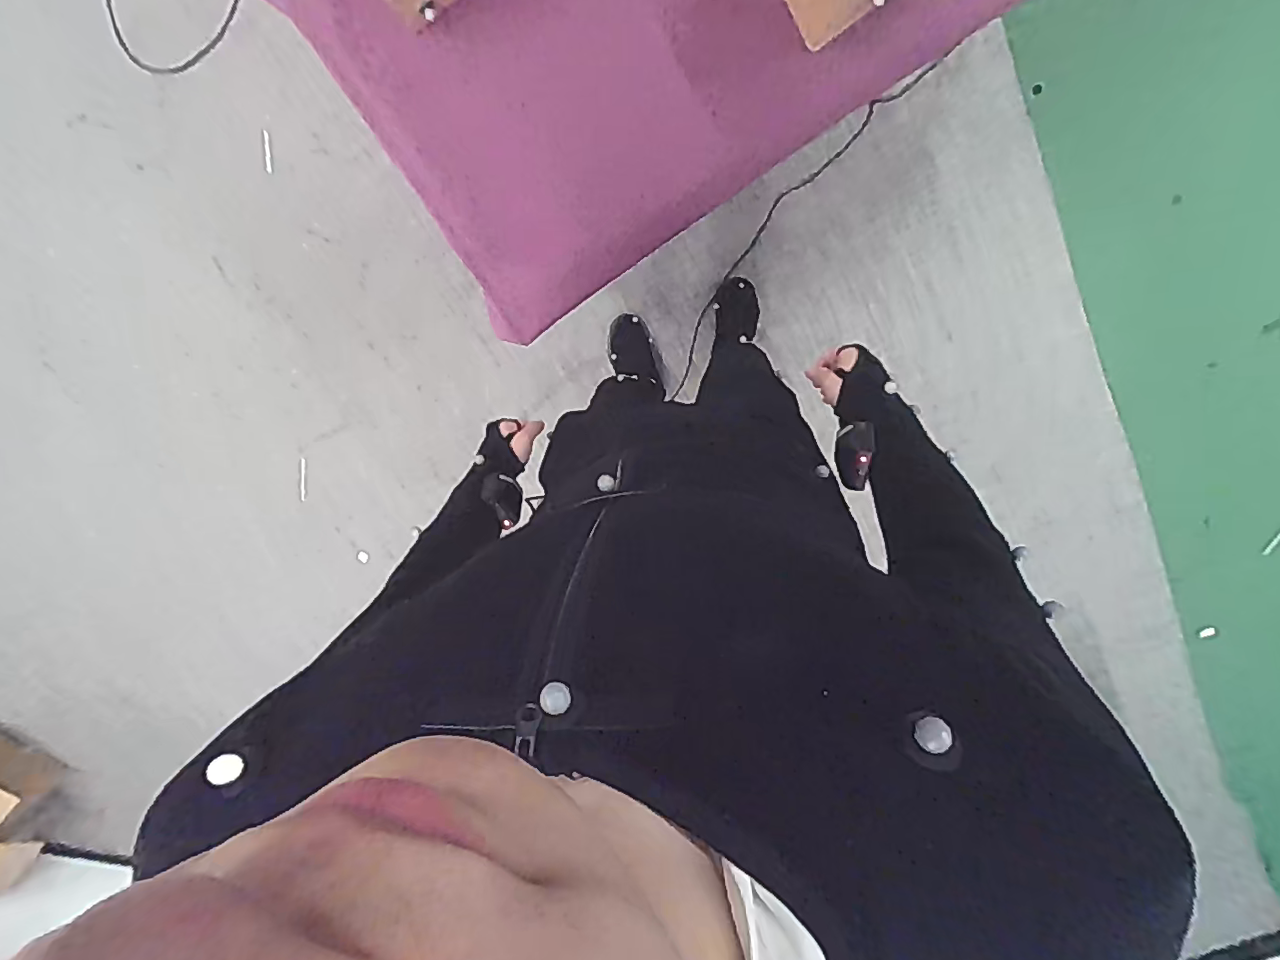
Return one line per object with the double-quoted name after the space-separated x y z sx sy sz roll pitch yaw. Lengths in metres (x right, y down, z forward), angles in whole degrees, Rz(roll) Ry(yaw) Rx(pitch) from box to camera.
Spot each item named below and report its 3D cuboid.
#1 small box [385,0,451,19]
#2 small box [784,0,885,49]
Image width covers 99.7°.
-0.257 -0.640 0.568 0.168 0.176 0.179 -30 107 10 "small box"
0.235 -0.625 0.576 0.168 0.176 0.179 -33 107 11 "small box"
